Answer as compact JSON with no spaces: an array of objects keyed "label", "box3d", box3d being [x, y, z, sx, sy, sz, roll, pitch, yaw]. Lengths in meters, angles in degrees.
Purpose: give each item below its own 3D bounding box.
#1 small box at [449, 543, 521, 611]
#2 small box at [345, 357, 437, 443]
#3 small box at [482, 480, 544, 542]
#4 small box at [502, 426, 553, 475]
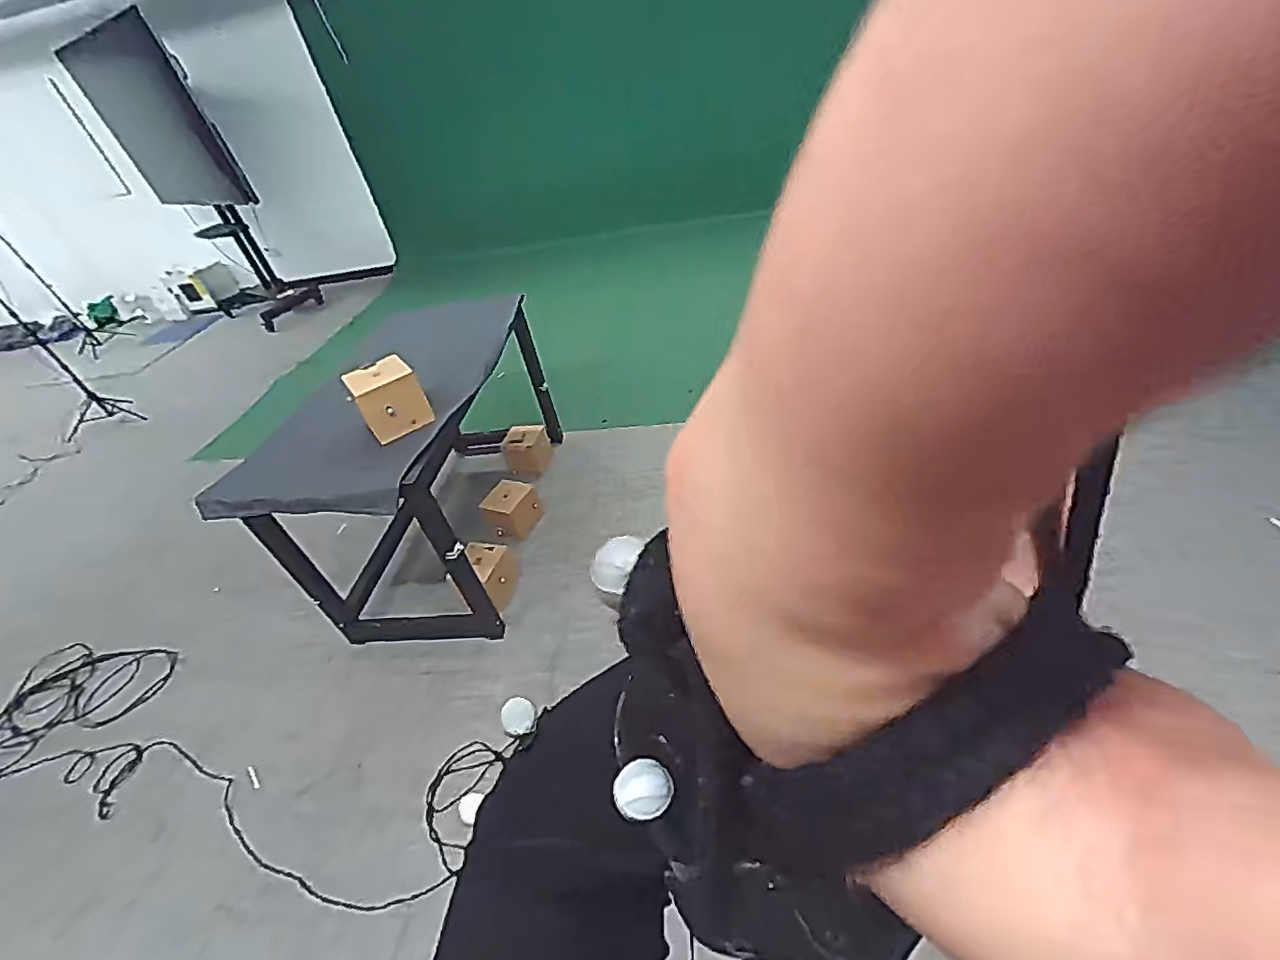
[{"label":"small box","box3d":[-0.559,0.357,1.981,0.168,0.176,0.179,4,43,18]},{"label":"small box","box3d":[-0.720,-0.229,1.573,0.168,0.176,0.179,-32,44,-23]},{"label":"small box","box3d":[-0.518,0.129,2.239,0.168,0.176,0.179,9,46,25]},{"label":"small box","box3d":[-0.523,-0.134,2.549,0.168,0.176,0.179,0,40,13]}]
